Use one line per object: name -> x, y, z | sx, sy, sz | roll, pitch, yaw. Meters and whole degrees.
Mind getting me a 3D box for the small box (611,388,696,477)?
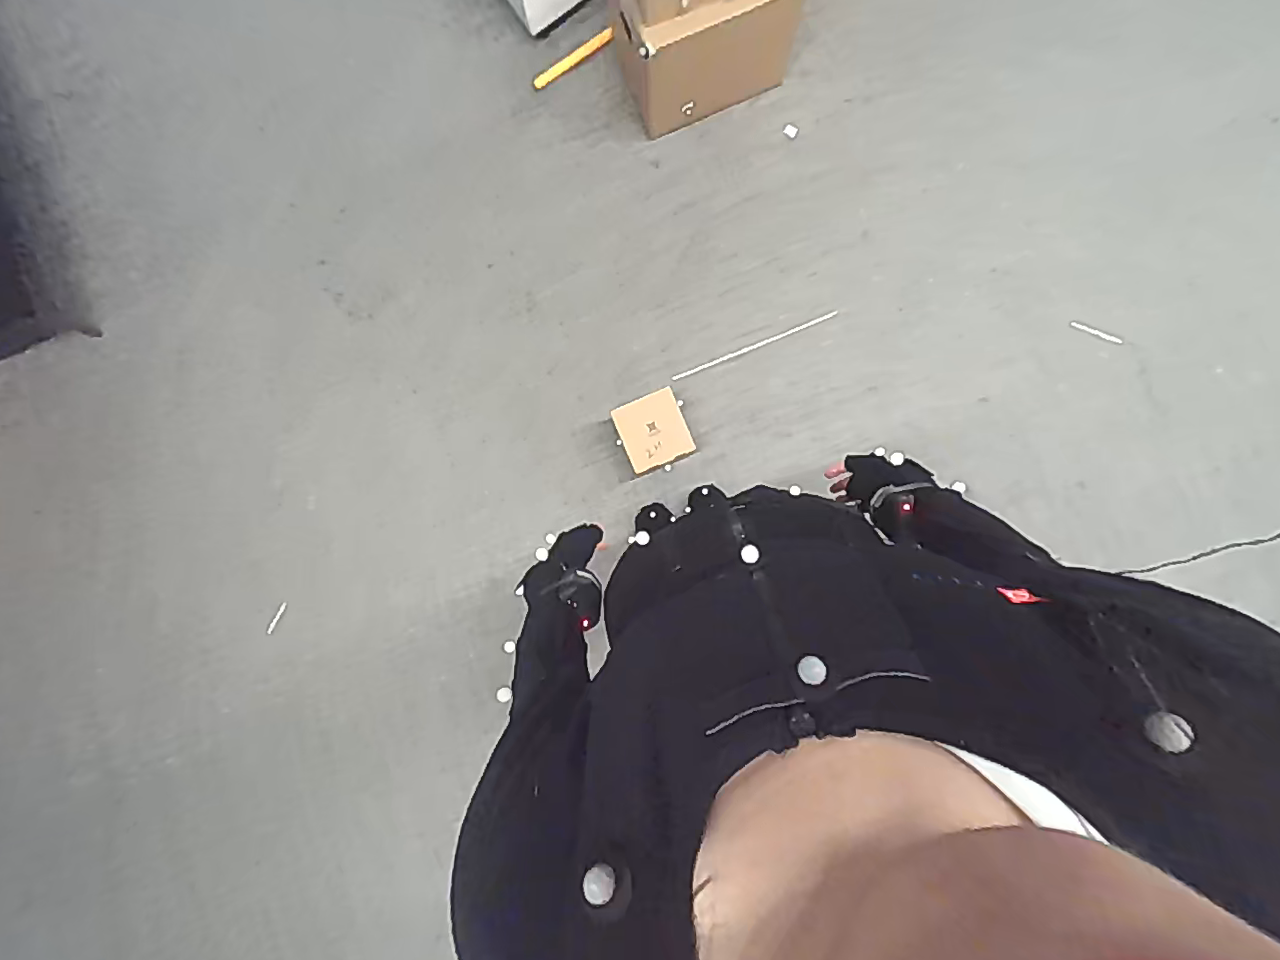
small box -> 0.035, -0.118, 1.416 | 0.168, 0.176, 0.179 | -23, 88, 2
